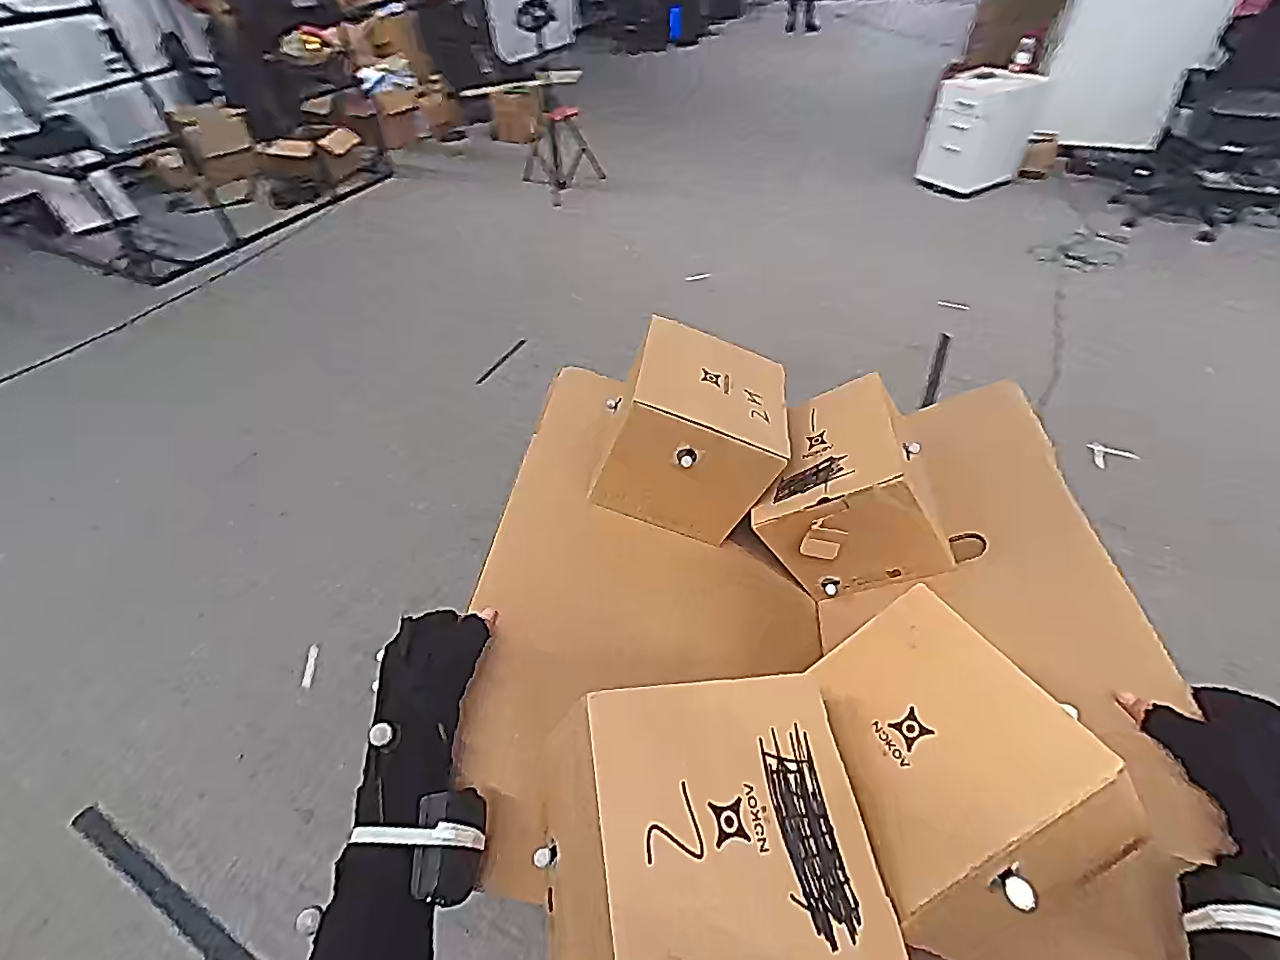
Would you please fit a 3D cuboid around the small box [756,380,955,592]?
[{"bbox_3d":[0.256,0.019,0.655,0.168,0.176,0.179,-22,36,32],"label":"small box"}]
